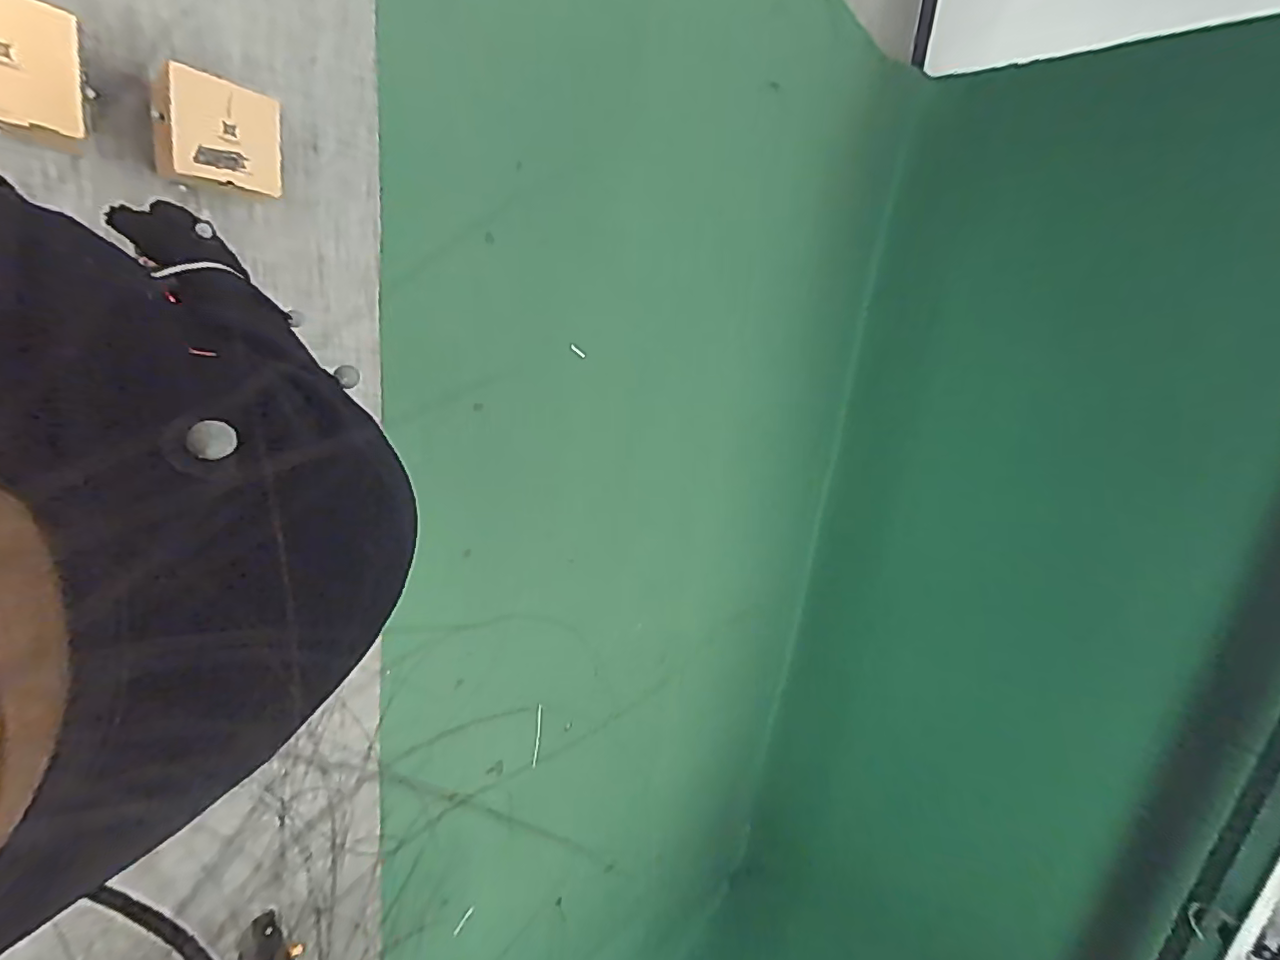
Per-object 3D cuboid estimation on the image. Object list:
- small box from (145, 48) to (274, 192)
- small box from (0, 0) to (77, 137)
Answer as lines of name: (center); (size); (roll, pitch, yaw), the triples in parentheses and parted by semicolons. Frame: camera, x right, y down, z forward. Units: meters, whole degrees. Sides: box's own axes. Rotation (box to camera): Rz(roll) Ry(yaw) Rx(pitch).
small box: (-0.818, -0.666, 1.030); (0.168, 0.176, 0.179); (-7, 111, -48)
small box: (-0.993, -0.656, 0.825); (0.168, 0.176, 0.179); (-6, 111, -49)
